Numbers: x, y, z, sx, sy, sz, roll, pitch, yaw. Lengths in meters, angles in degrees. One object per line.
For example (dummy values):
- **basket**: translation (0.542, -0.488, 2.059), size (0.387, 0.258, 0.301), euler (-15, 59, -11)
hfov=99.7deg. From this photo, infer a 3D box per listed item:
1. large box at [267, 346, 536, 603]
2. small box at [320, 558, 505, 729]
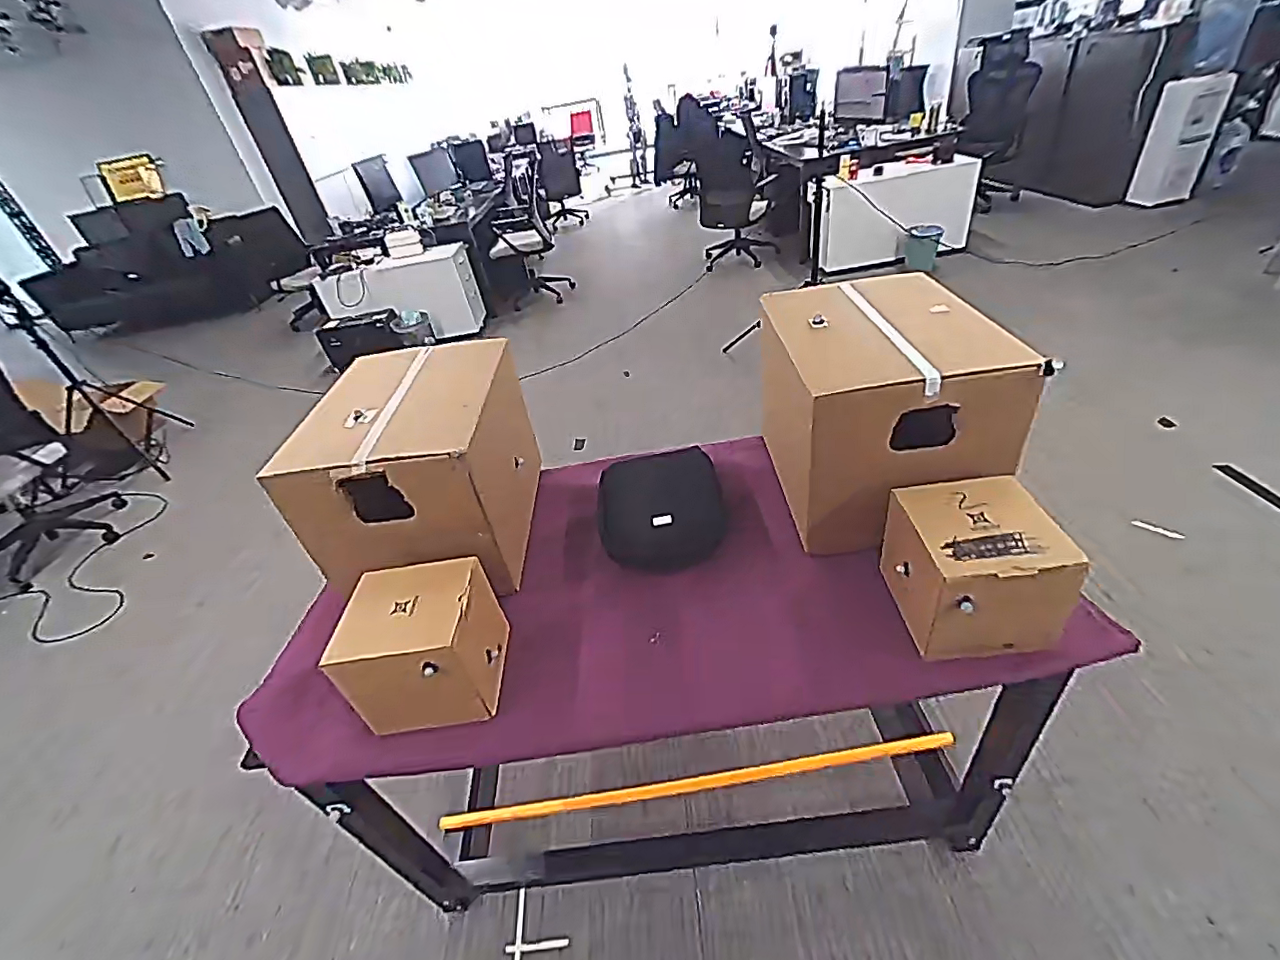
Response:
- **large box**: translation (-0.394, -0.013, 1.031), size (0.320, 0.320, 0.408), euler (-8, 39, 2)
- **small box**: translation (-0.317, 0.242, 0.794), size (0.179, 0.176, 0.168), euler (-9, 35, 1)
